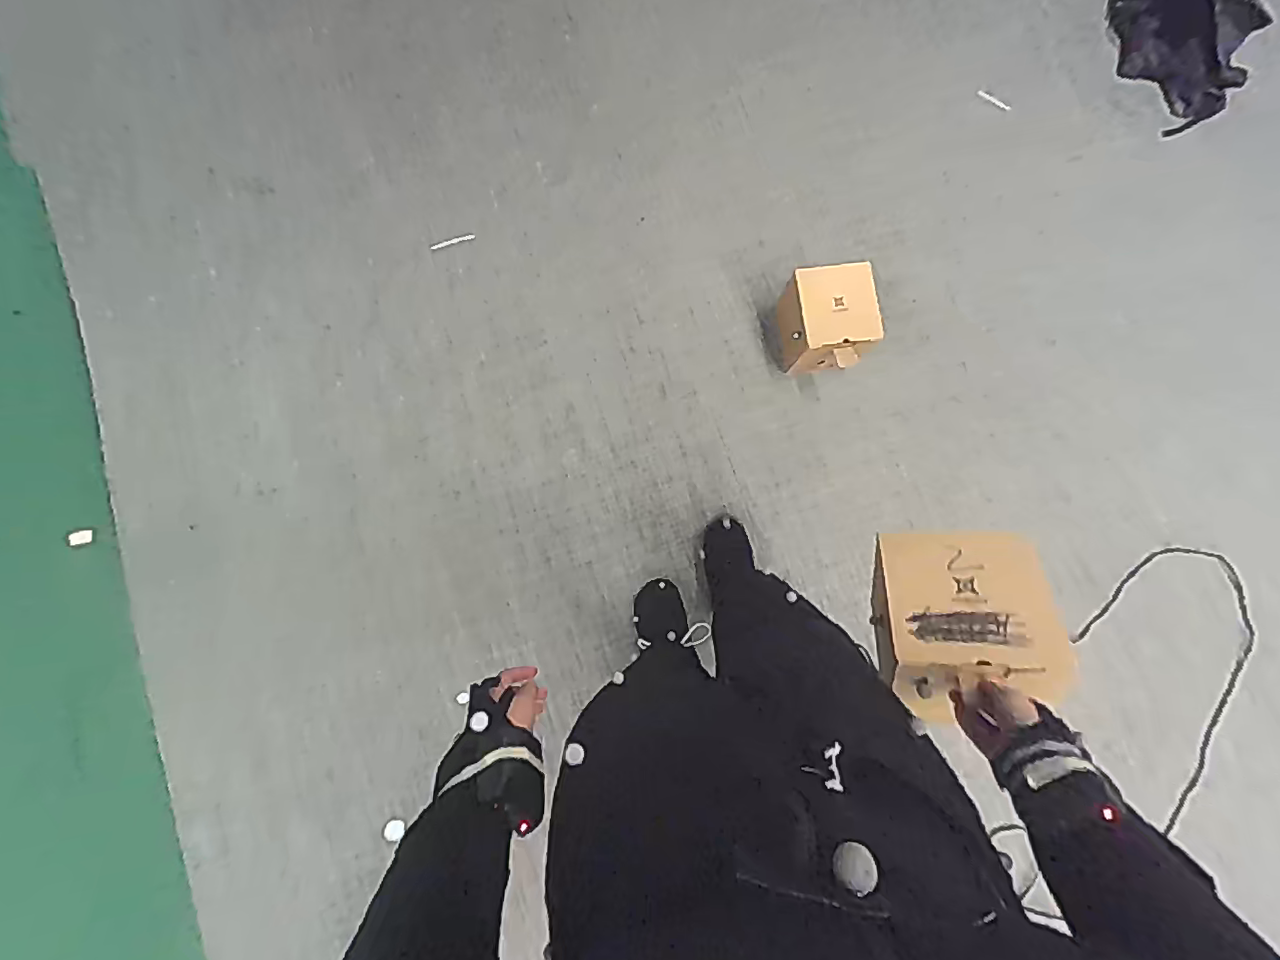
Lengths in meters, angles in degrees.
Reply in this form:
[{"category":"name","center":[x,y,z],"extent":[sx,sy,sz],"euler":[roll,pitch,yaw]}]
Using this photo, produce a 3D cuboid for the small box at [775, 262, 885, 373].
[{"category":"small box","center":[0.410,-0.354,1.197],"extent":[0.168,0.176,0.179],"euler":[-7,83,-3]}]
